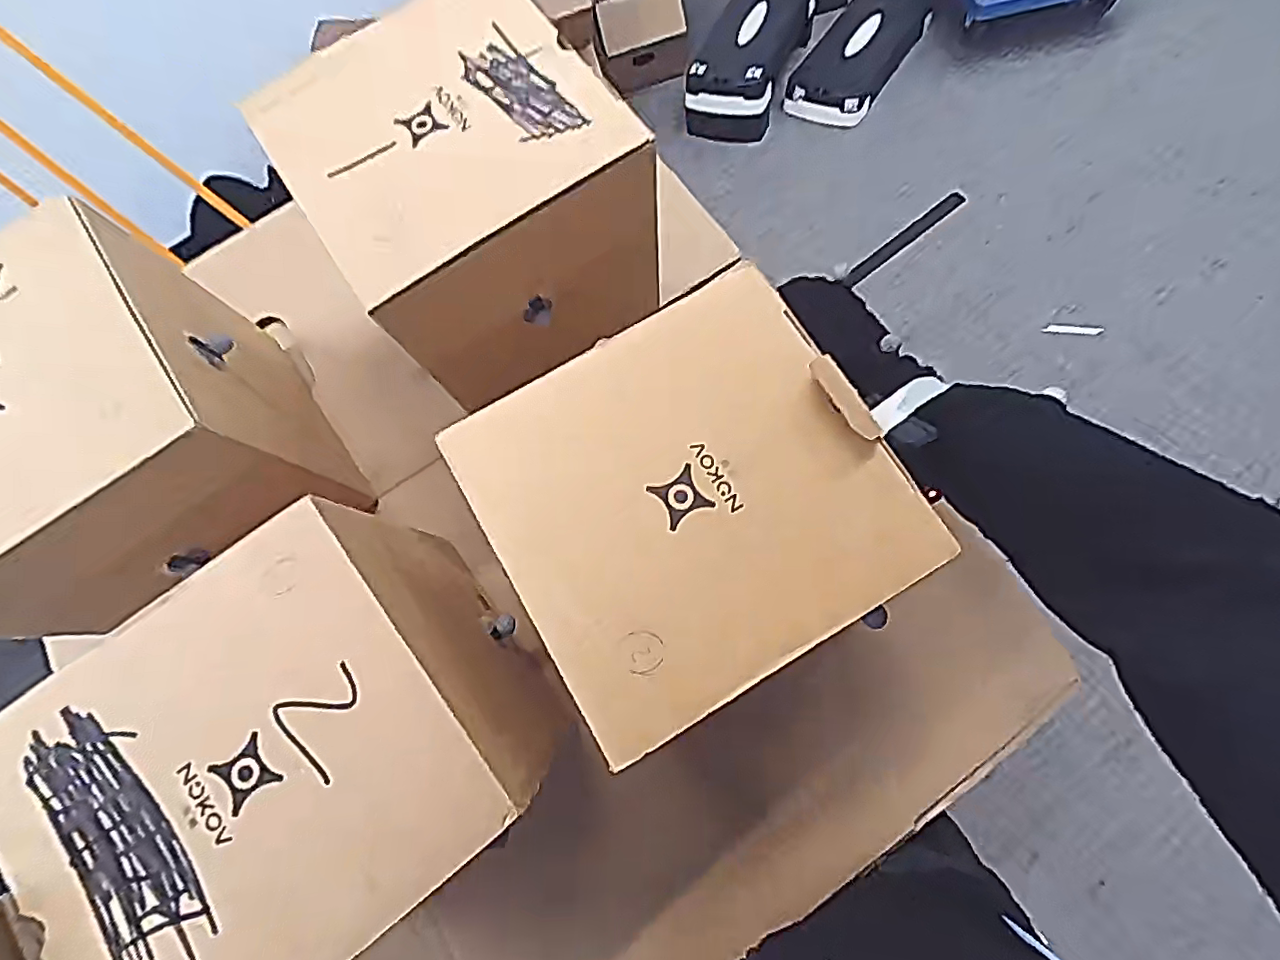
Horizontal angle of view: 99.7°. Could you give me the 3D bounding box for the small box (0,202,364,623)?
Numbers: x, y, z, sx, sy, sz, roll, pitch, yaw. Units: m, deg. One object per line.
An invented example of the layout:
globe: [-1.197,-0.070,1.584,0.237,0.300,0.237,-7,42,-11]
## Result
small box: [-0.322,-0.024,0.352,0.168,0.176,0.179,-36,76,-6]
